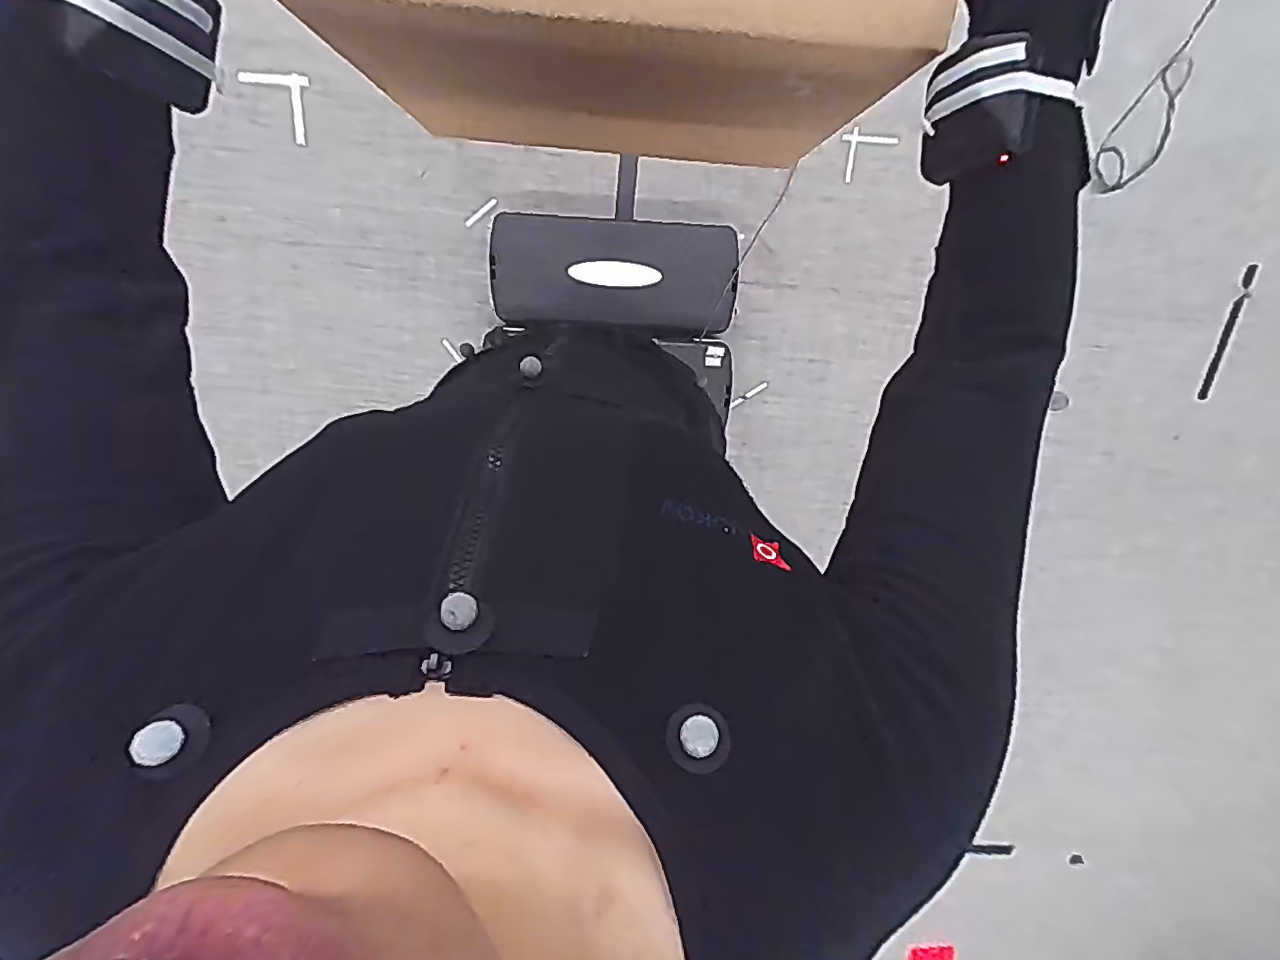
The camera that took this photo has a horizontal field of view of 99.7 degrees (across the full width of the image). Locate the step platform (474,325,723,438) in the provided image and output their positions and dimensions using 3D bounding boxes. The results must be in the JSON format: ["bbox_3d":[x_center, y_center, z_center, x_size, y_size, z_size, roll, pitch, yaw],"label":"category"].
[{"bbox_3d":[-0.110,-0.275,1.518,0.684,0.204,0.286,2,105,-1],"label":"step platform"}]

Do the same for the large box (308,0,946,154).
[{"bbox_3d":[-0.013,-0.472,0.419,0.408,0.320,0.320,2,110,-4],"label":"large box"}]
